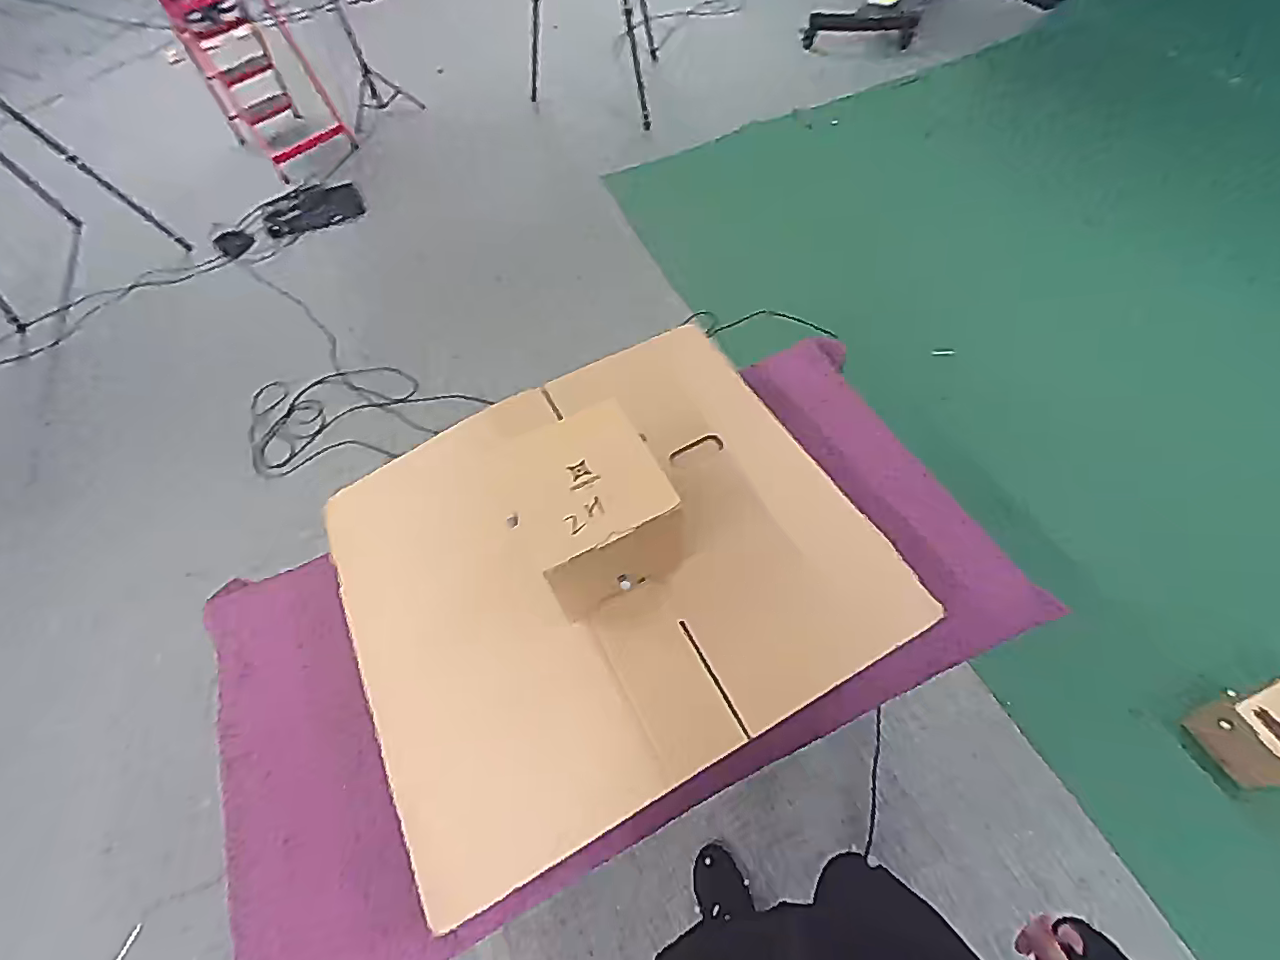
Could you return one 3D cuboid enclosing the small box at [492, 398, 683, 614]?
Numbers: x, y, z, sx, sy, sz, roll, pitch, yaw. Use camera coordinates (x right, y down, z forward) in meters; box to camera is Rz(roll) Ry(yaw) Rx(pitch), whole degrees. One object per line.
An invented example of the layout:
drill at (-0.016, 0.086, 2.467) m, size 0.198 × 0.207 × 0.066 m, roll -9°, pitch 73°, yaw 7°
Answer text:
small box at (-0.060, 0.037, 0.668) m, size 0.168 × 0.176 × 0.179 m, roll -25°, pitch 61°, yaw -11°
